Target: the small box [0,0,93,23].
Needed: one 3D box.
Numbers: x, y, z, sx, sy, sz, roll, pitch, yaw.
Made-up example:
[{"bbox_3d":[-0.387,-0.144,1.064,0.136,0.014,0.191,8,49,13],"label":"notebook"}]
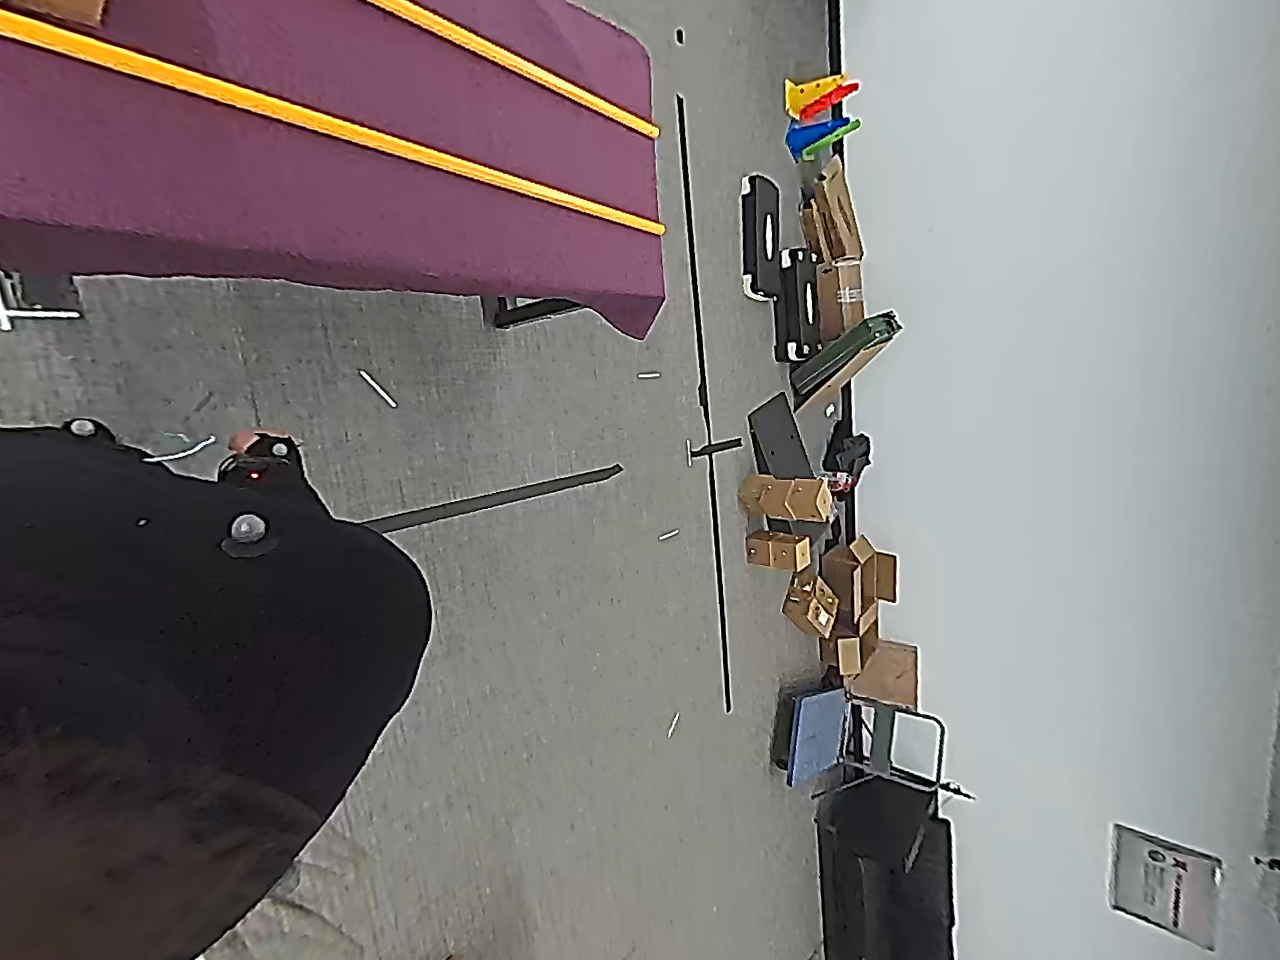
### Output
[{"bbox_3d":[-0.679,-0.608,0.537,0.179,0.176,0.168,-19,107,-47],"label":"small box"}]
